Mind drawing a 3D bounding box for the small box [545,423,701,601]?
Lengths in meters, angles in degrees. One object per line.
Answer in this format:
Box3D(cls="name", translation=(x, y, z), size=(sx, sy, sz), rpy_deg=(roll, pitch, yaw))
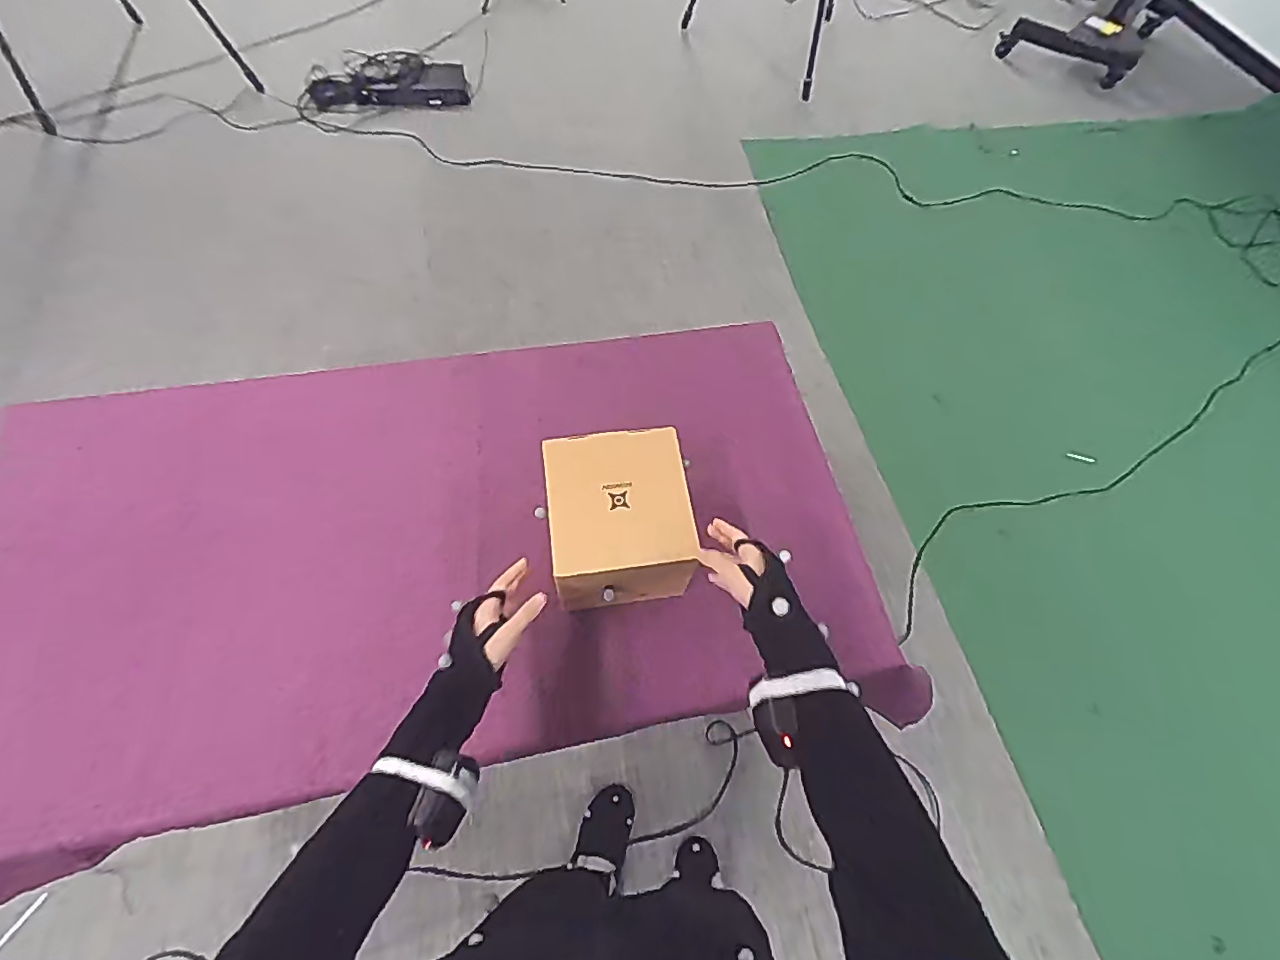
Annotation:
Box3D(cls="small box", translation=(-0.026, 0.050, 0.702), size=(0.168, 0.176, 0.179), rpy_deg=(-7, 64, -7))
